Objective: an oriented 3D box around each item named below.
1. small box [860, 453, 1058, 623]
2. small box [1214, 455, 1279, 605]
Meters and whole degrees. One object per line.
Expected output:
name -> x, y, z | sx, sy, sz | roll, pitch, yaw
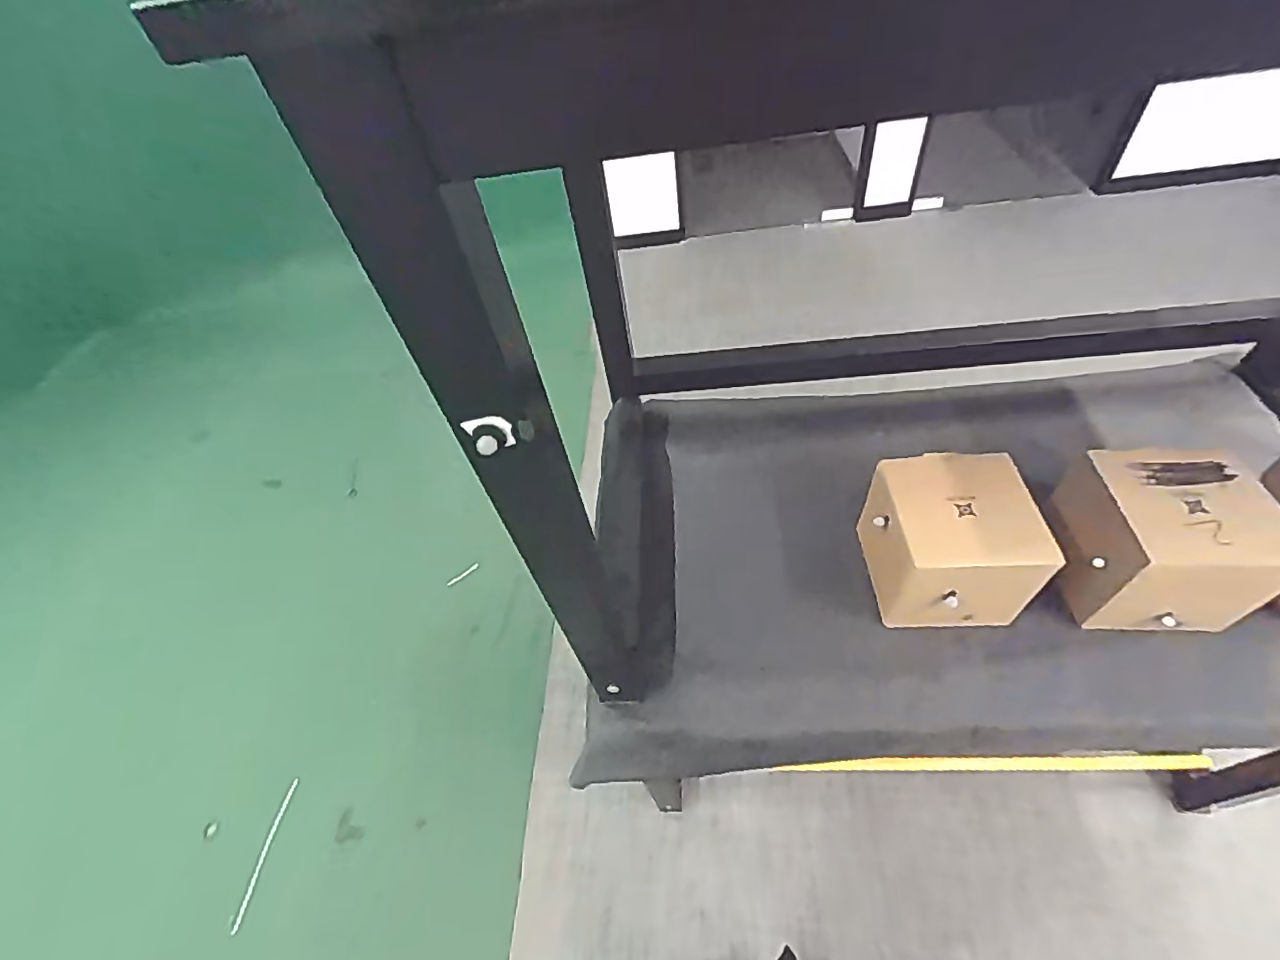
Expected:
small box -> 0.416, 0.087, 0.743 | 0.168, 0.176, 0.179 | -3, 49, 7
small box -> 0.904, 0.067, 0.671 | 0.168, 0.176, 0.179 | -4, 49, 6
